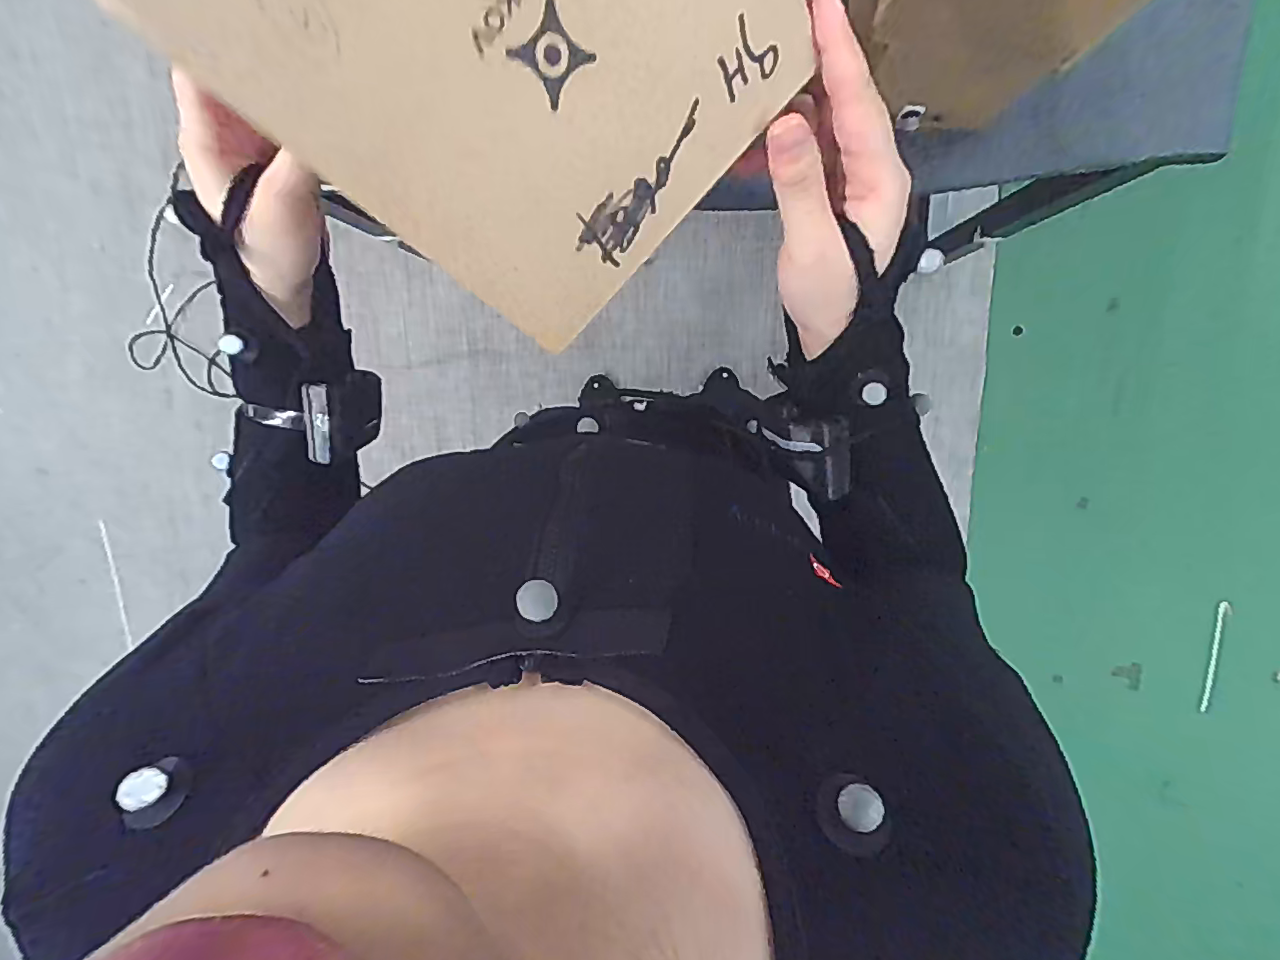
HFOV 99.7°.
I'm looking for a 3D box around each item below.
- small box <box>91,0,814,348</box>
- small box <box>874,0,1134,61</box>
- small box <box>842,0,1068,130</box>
[{"bbox_3d":[-0.068,-0.198,0.231,0.168,0.176,0.179,-44,136,15],"label":"small box"},{"bbox_3d":[0.299,-0.444,0.386,0.179,0.176,0.168,12,100,4],"label":"small box"},{"bbox_3d":[0.313,-0.486,0.543,0.168,0.176,0.179,2,100,5],"label":"small box"}]
